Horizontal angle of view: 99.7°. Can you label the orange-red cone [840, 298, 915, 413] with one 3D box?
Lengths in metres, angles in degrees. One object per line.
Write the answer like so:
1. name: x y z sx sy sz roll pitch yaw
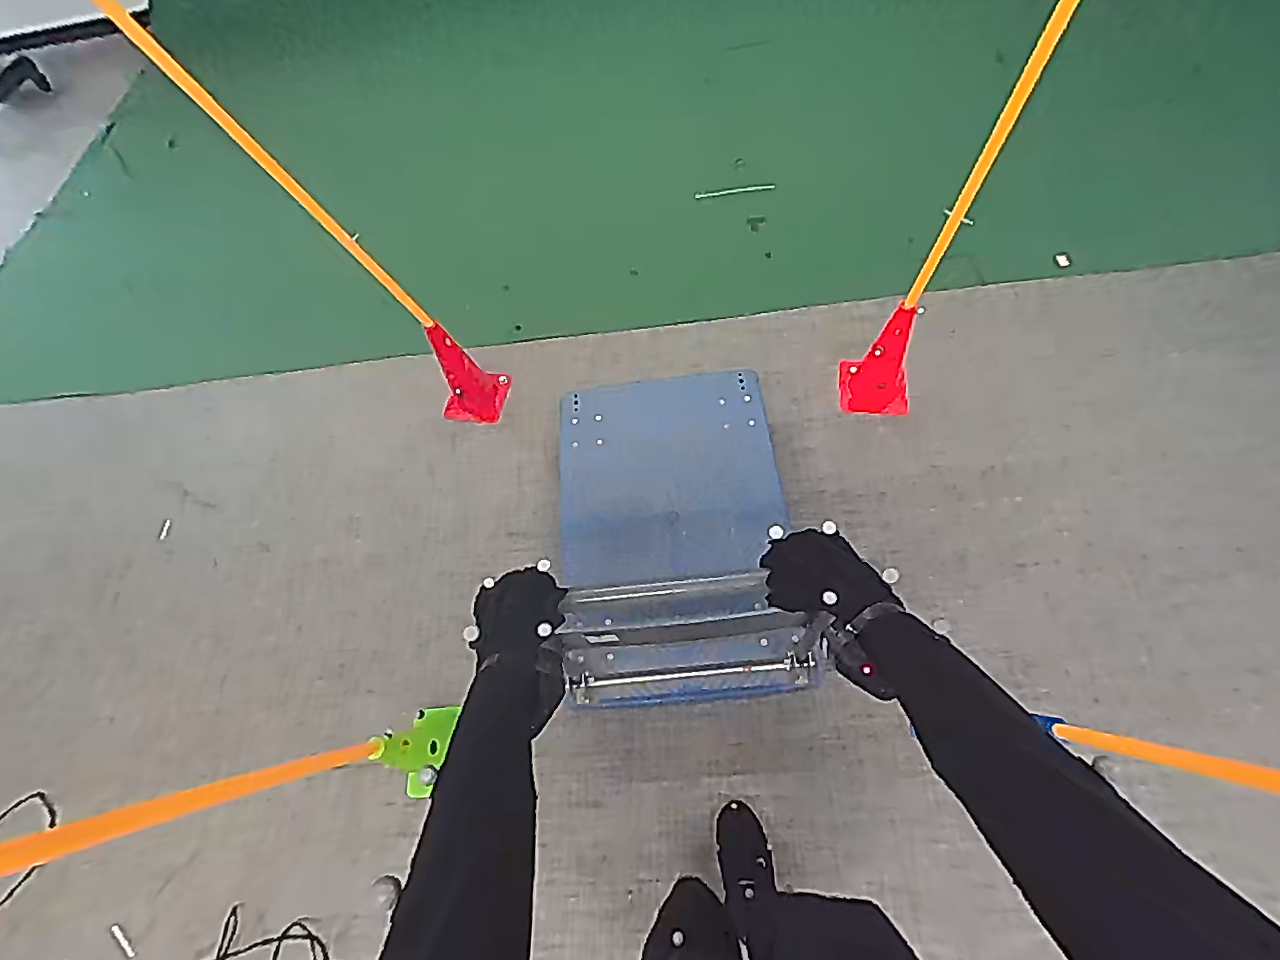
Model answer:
1. orange-red cone: 0.702 -0.368 1.522 0.198 0.360 0.199 4 65 11
